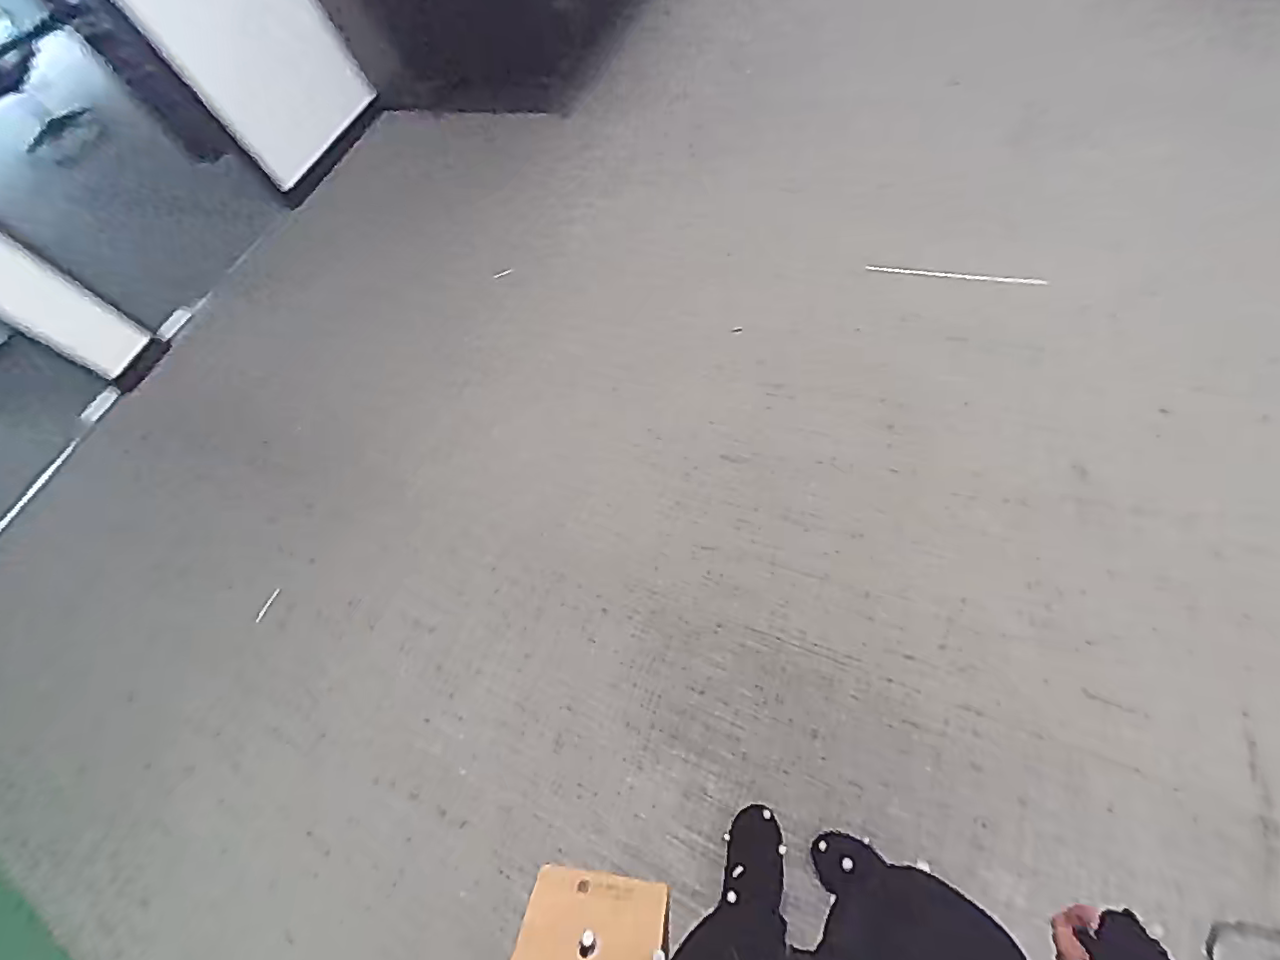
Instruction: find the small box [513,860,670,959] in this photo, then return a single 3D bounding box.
[{"bbox_3d":[-0.059,0.594,0.640,0.168,0.179,0.176,5,26,10],"label":"small box"}]
